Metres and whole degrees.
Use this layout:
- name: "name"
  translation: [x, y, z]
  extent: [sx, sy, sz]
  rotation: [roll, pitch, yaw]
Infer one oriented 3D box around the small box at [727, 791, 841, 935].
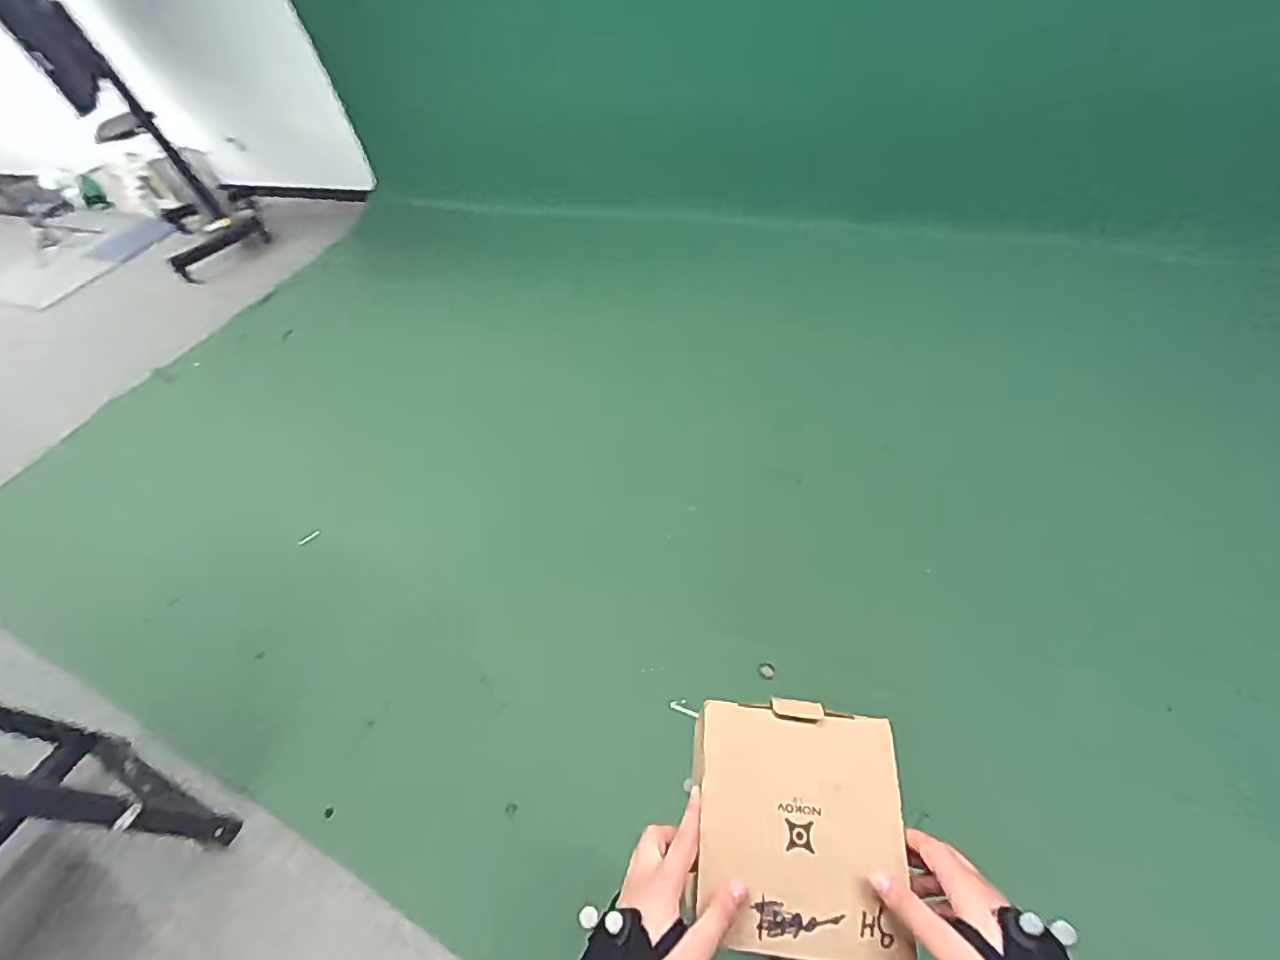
- name: "small box"
  translation: [0.294, 0.781, 1.107]
  extent: [0.168, 0.176, 0.179]
  rotation: [23, 59, 26]
